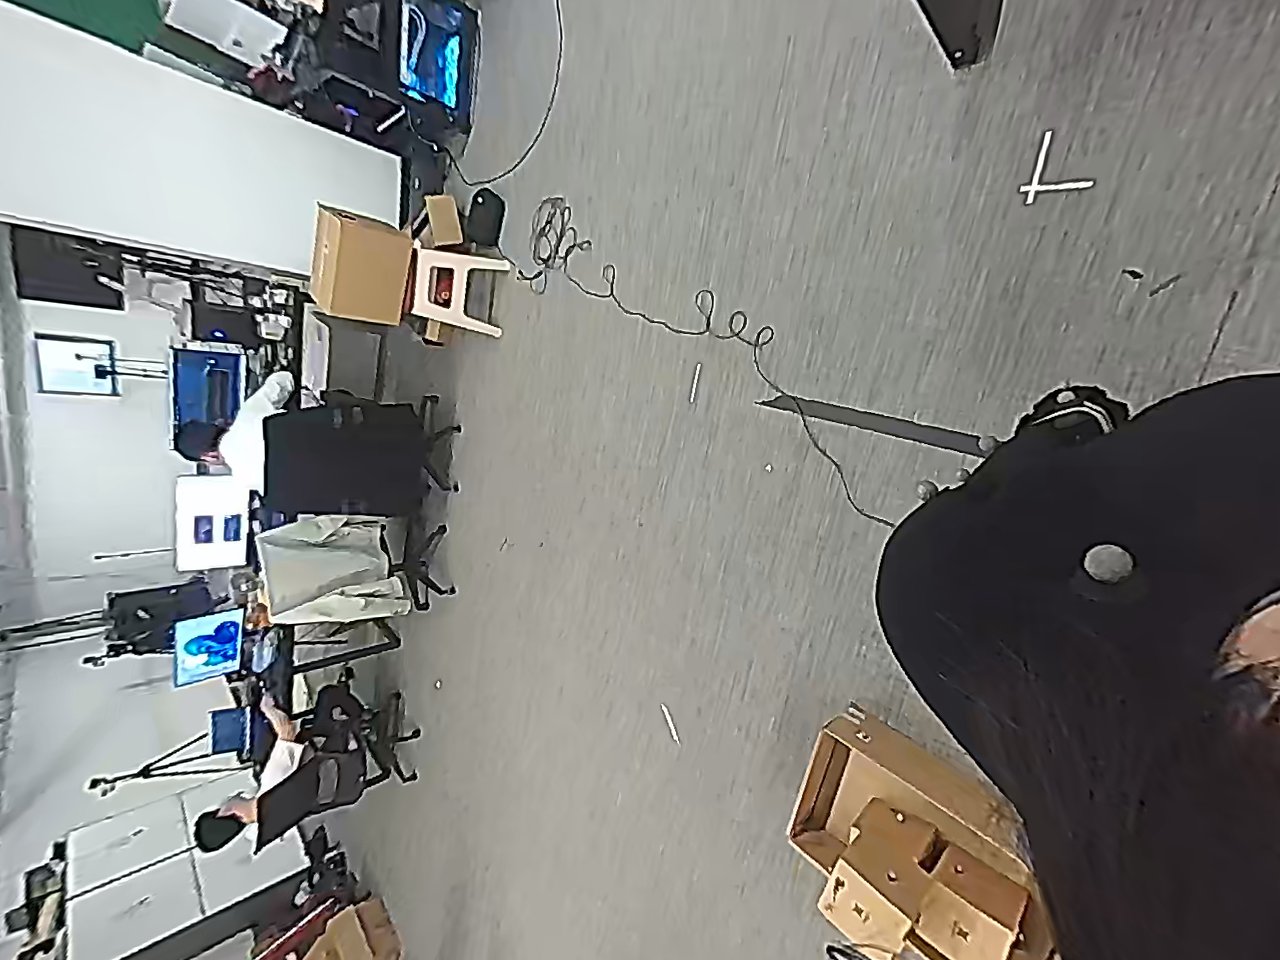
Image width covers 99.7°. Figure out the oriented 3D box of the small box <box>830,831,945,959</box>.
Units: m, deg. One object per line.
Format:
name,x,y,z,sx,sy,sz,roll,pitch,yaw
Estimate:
small box,0.587,0.984,1.275,0.179,0.176,0.168,28,110,39
